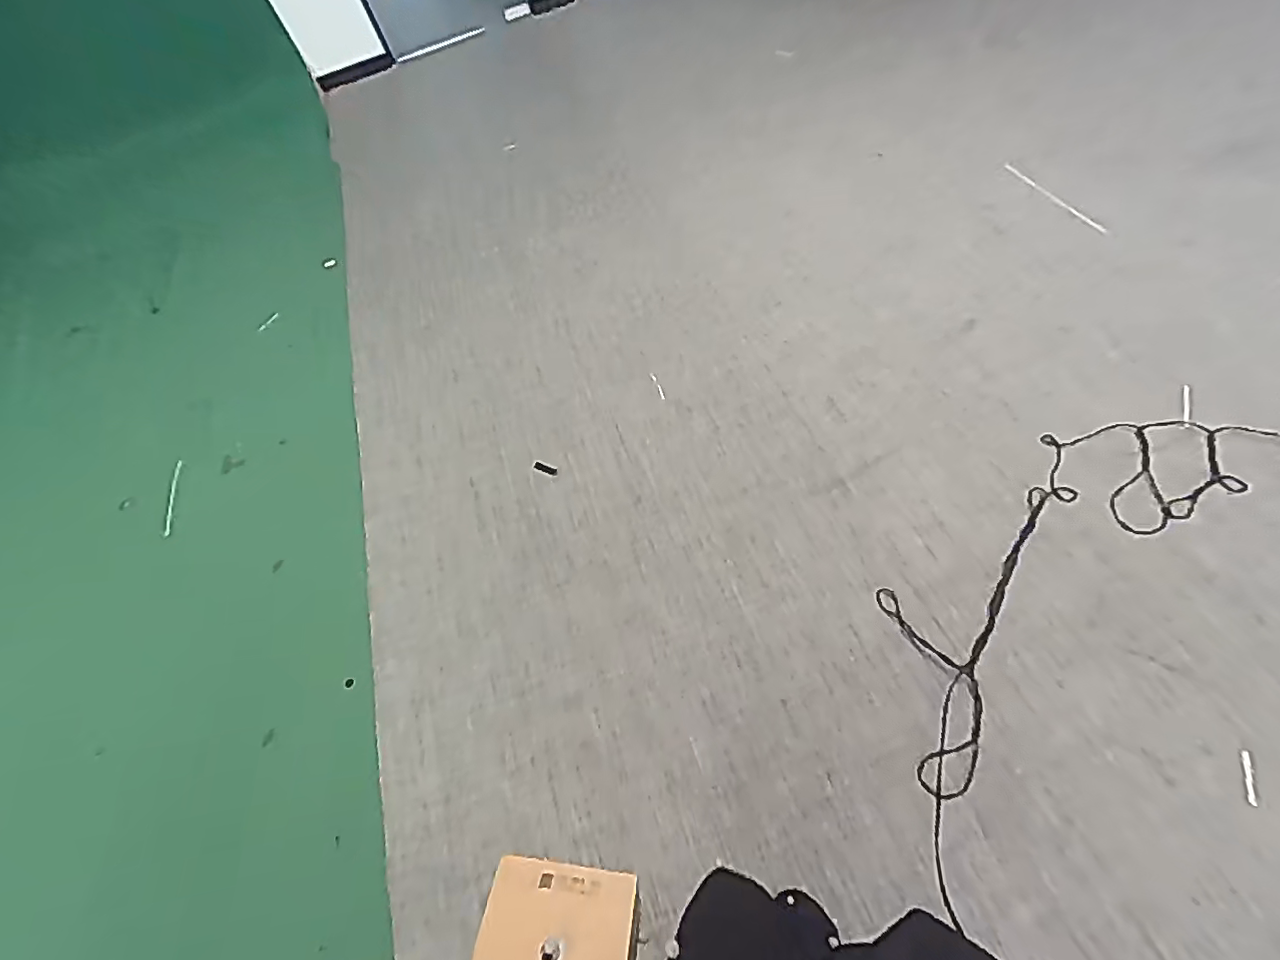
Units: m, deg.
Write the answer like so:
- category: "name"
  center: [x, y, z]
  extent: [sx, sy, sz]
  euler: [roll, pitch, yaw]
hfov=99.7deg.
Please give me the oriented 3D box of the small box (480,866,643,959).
- category: "small box"
  center: [-0.089, 0.570, 0.616]
  extent: [0.168, 0.179, 0.176]
  euler: [3, 39, 7]
